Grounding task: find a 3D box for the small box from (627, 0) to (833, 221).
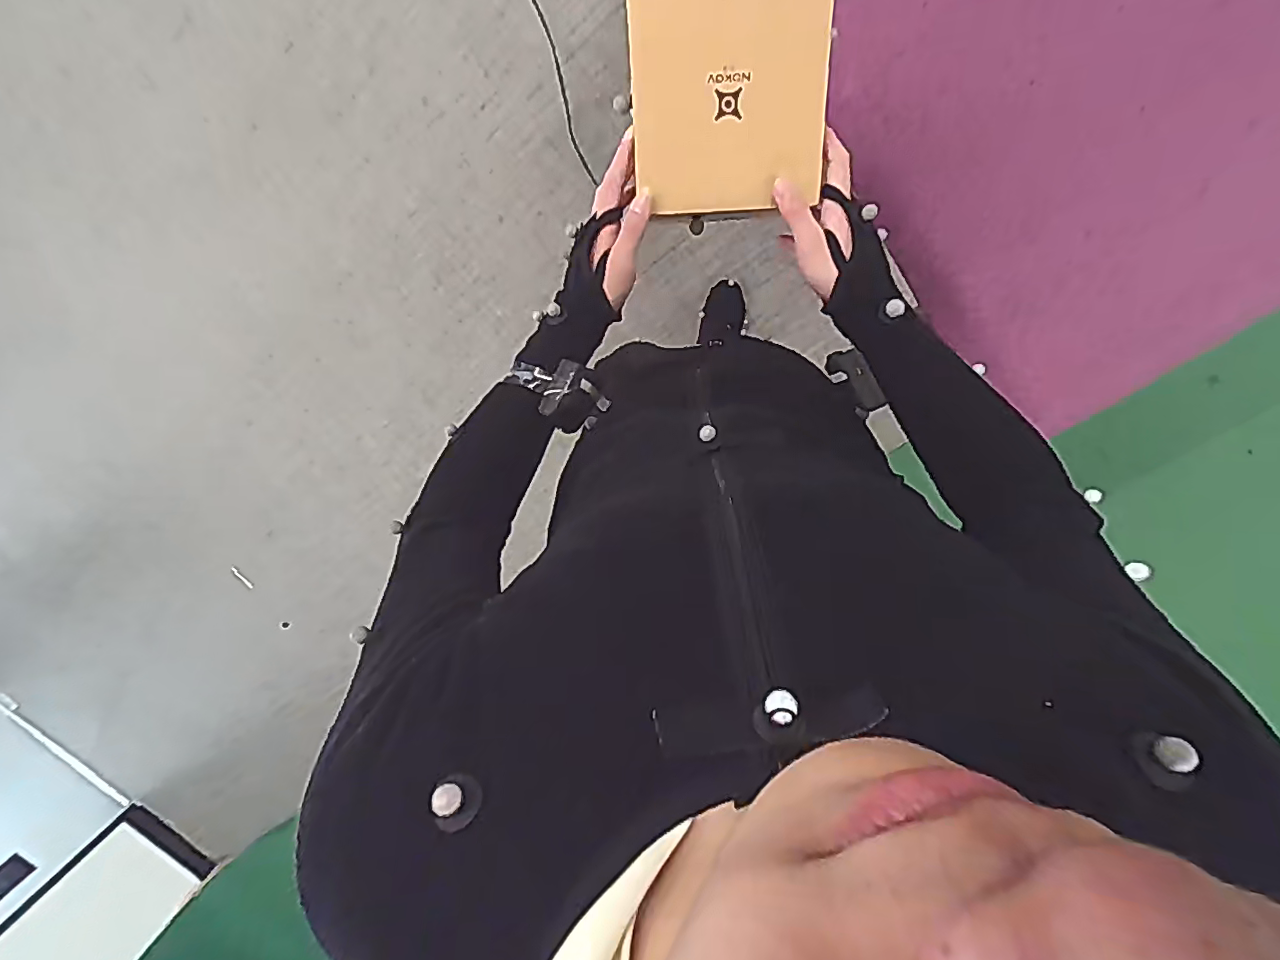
[{"bbox_3d":[0.077,-0.354,0.526,0.168,0.176,0.179,-2,111,3],"label":"small box"}]
